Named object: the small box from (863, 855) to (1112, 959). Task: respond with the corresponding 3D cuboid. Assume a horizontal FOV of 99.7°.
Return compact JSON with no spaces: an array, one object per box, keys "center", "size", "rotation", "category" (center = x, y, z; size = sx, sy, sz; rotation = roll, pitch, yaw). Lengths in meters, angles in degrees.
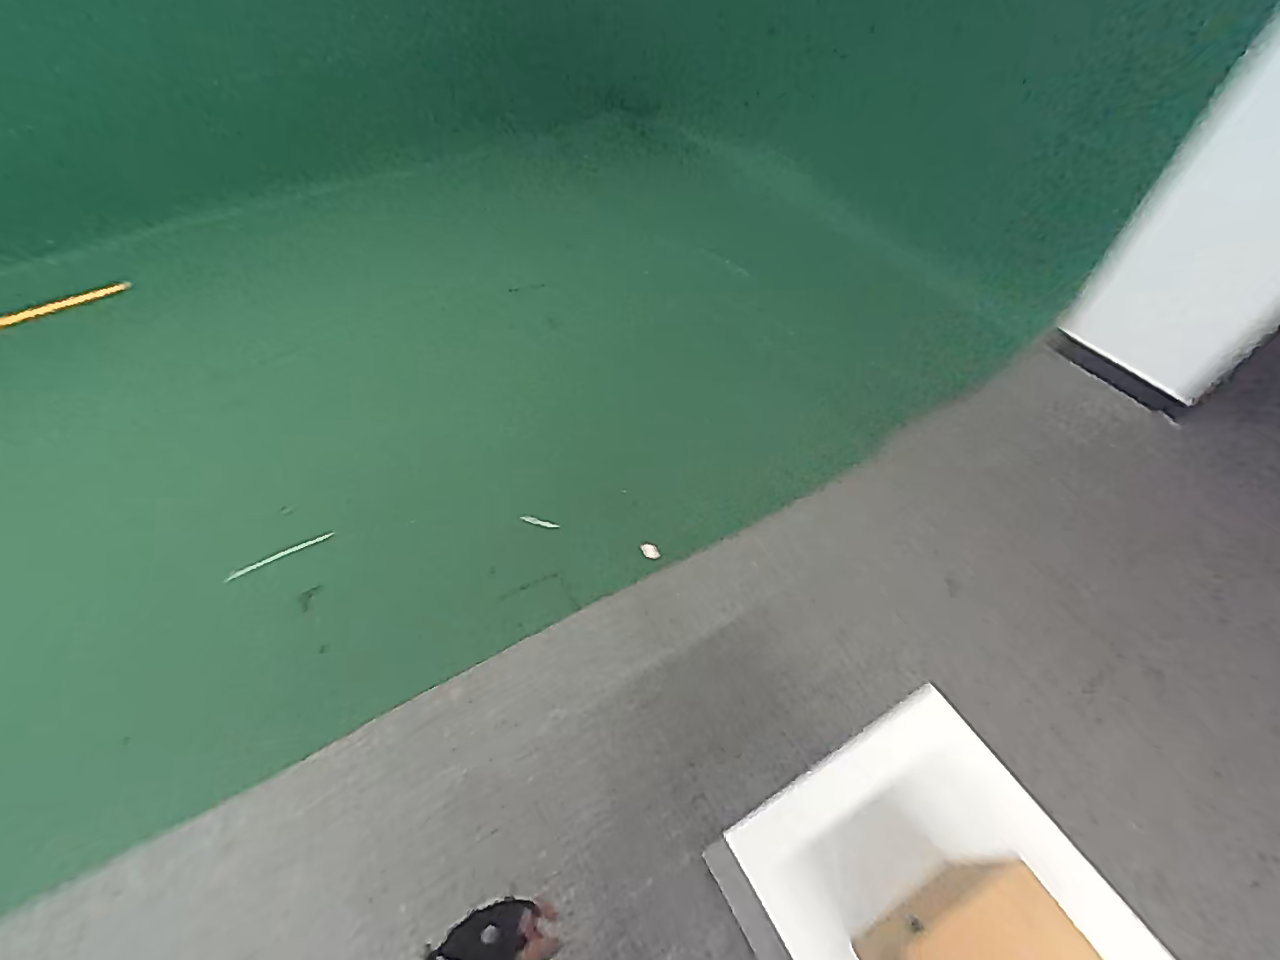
[{"center":[0.372,0.530,0.569],"size":[0.179,0.176,0.168],"rotation":[-24,55,-16],"category":"small box"}]
